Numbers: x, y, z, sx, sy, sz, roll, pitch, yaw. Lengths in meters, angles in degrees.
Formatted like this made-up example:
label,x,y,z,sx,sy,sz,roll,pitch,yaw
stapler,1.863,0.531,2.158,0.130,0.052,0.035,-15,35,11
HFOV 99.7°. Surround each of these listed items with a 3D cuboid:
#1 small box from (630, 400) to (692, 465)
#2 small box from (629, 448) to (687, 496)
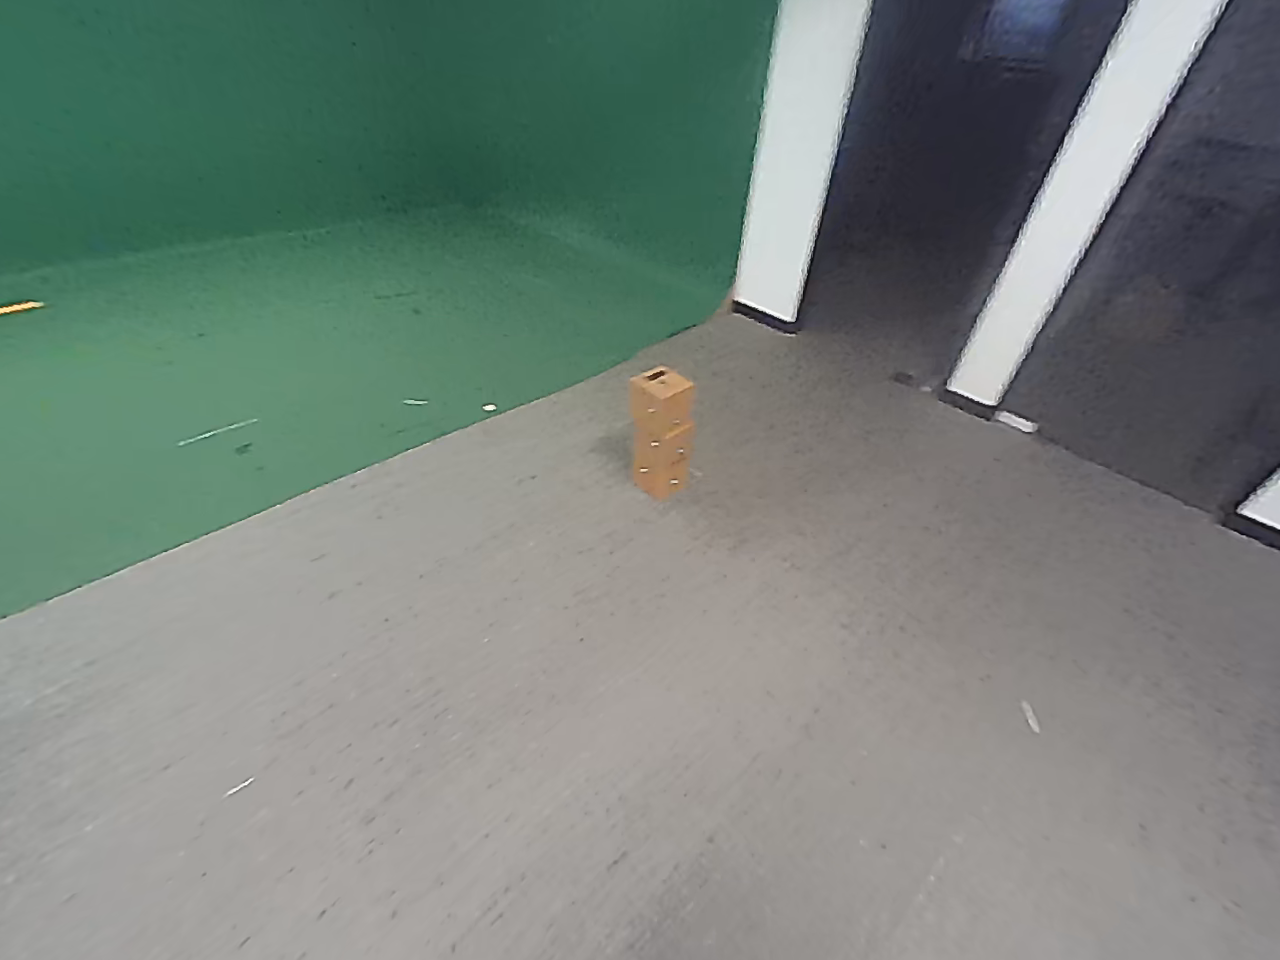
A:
label,x,y,z,sx,sy,sz,roll,pitch,yaw
small box,0.079,-0.178,2.094,0.168,0.176,0.179,-32,52,-33
small box,0.071,-0.059,2.208,0.168,0.176,0.179,-33,53,-33
